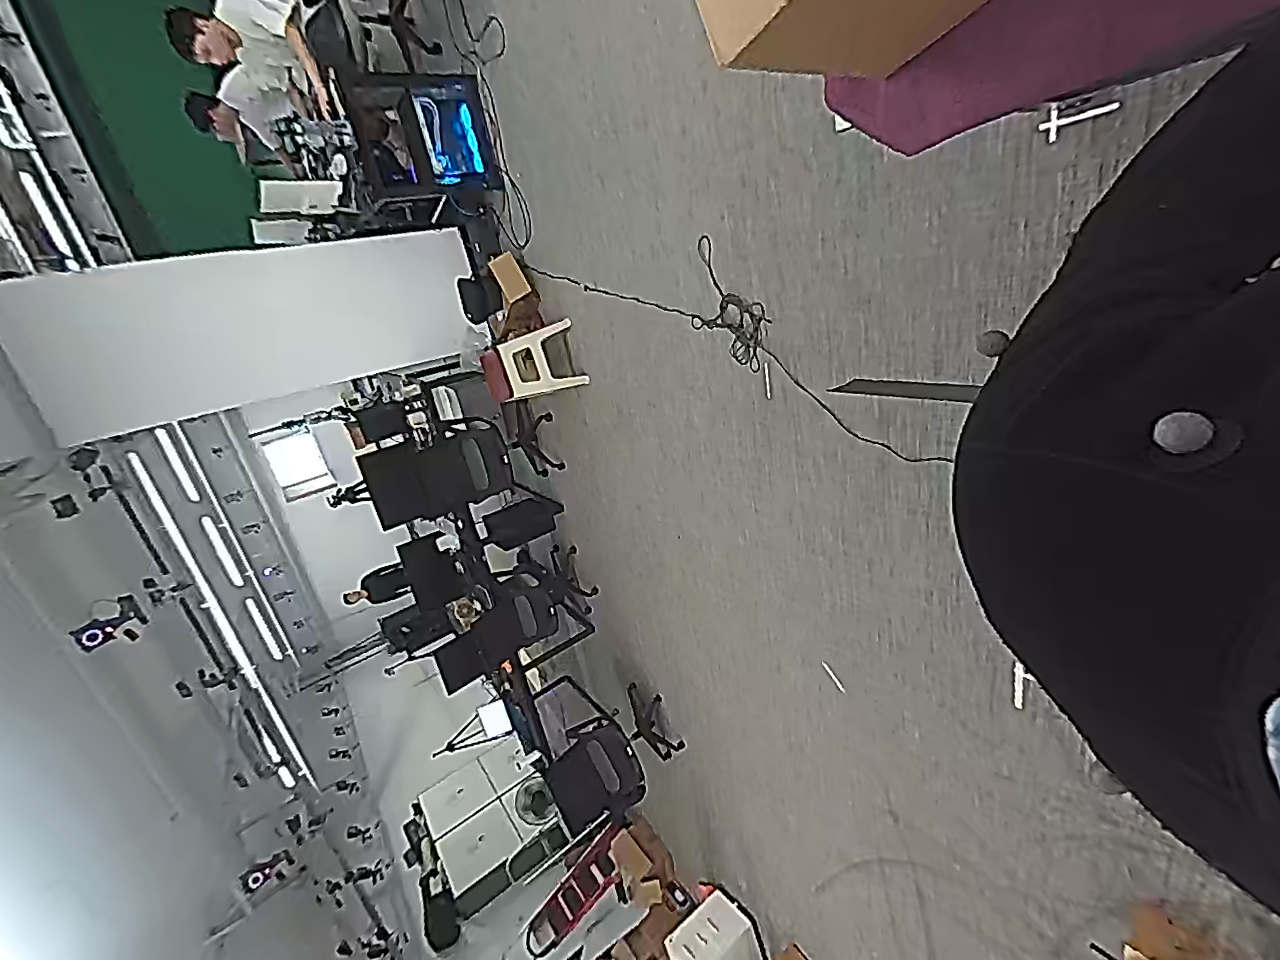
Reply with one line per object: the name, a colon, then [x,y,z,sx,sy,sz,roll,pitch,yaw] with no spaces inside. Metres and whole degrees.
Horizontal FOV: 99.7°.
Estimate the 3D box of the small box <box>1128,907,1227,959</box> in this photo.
small box: [1.480,1.349,1.494,0.168,0.176,0.179,13,122,55]
